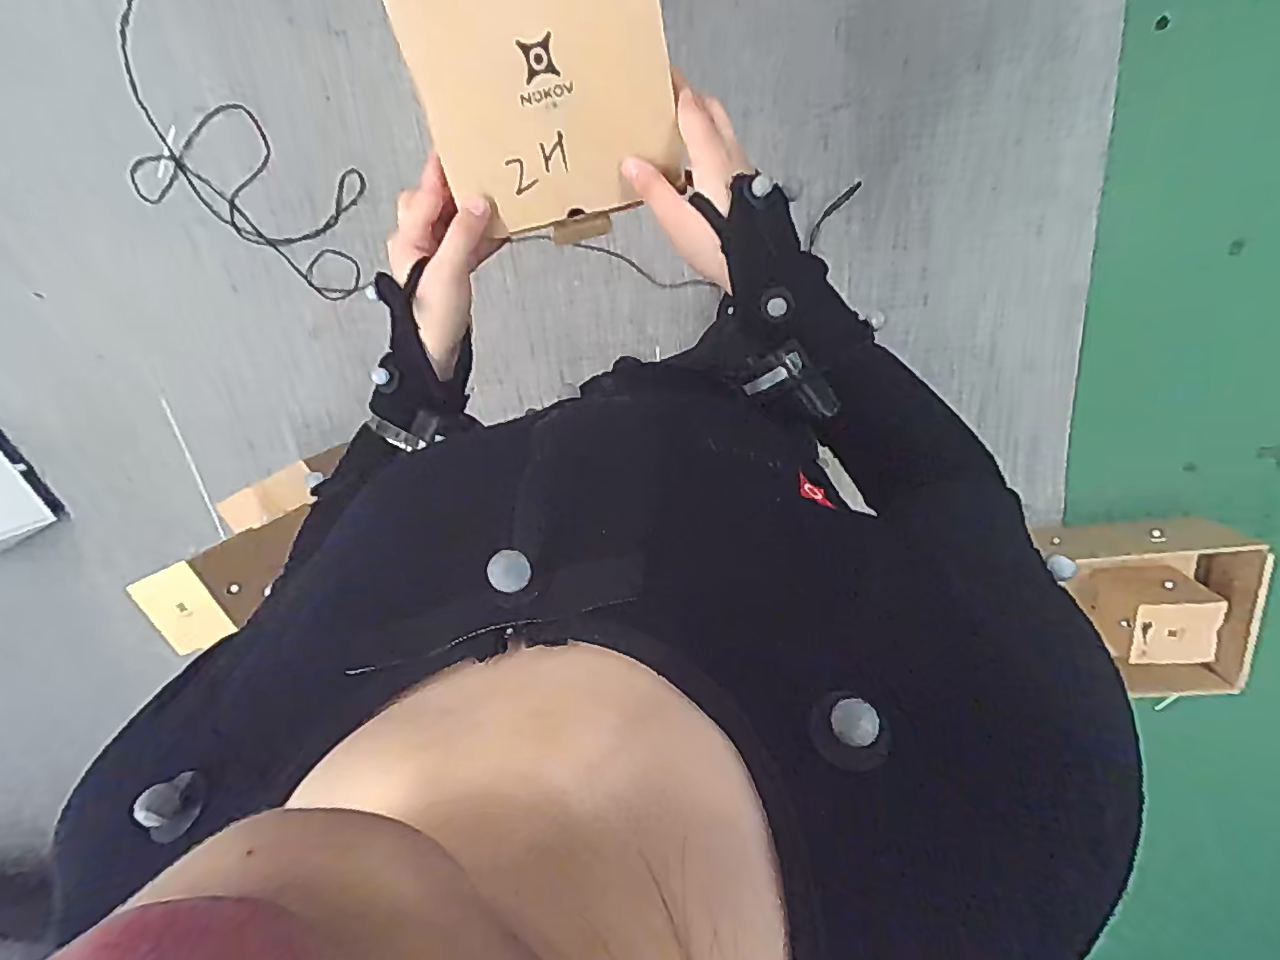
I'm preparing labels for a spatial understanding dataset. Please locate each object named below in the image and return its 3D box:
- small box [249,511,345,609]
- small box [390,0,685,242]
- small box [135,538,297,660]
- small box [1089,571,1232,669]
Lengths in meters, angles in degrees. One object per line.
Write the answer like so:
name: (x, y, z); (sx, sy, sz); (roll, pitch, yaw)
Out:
small box: (-0.864, 0.202, 1.308); (0.168, 0.176, 0.179); (-23, 104, 14)
small box: (-0.064, -0.304, 0.421); (0.168, 0.176, 0.179); (-10, 122, 6)
small box: (-0.889, 0.243, 1.152); (0.168, 0.176, 0.179); (-23, 105, 13)
small box: (1.246, 0.333, 1.308); (0.179, 0.176, 0.168); (-6, 109, 11)
